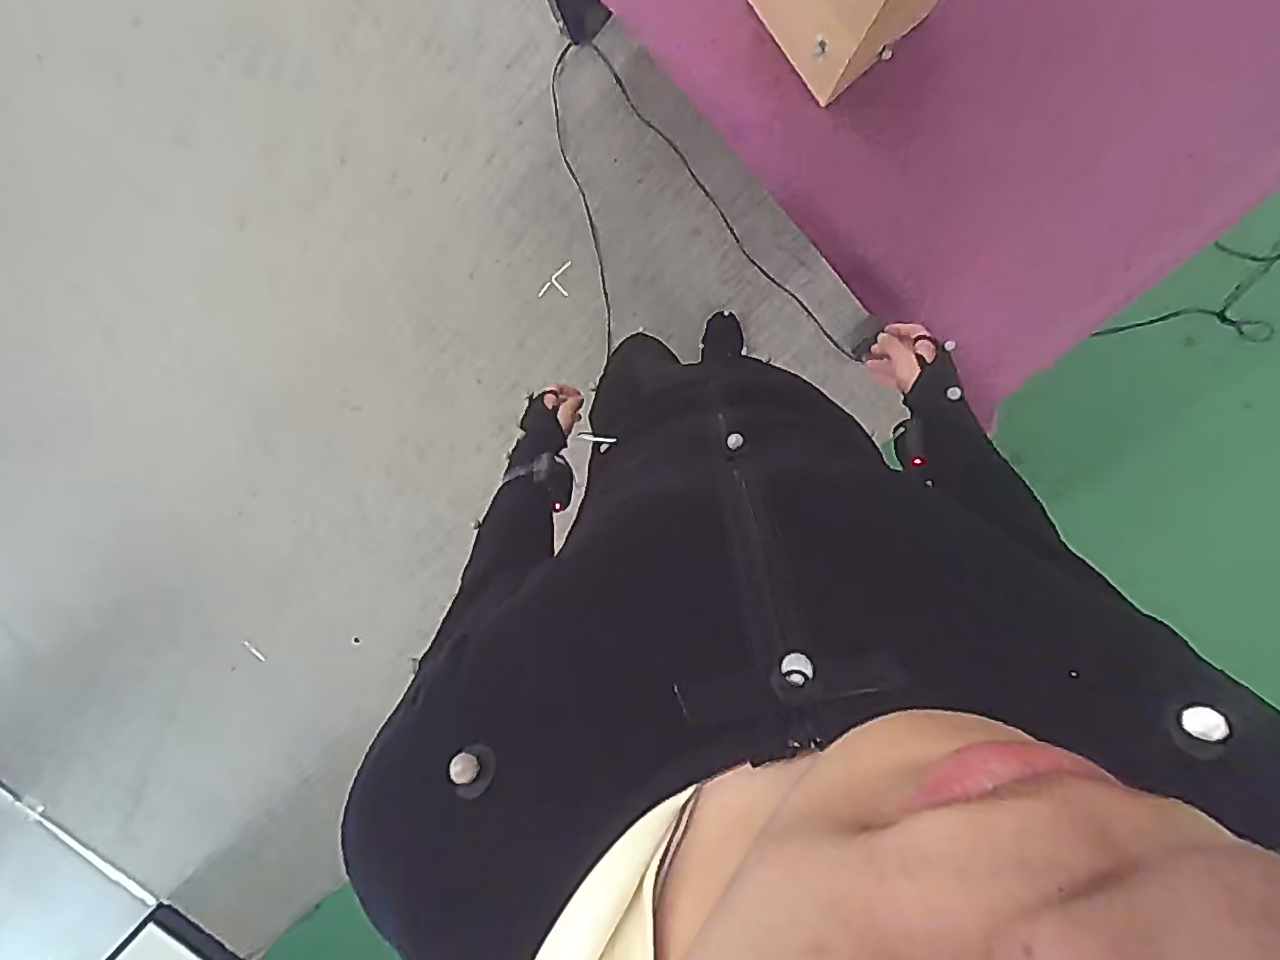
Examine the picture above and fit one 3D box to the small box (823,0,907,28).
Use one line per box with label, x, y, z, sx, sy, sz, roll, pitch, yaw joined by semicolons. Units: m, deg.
small box;0.236;-0.560;0.481;0.168;0.176;0.179;-38;98;13
